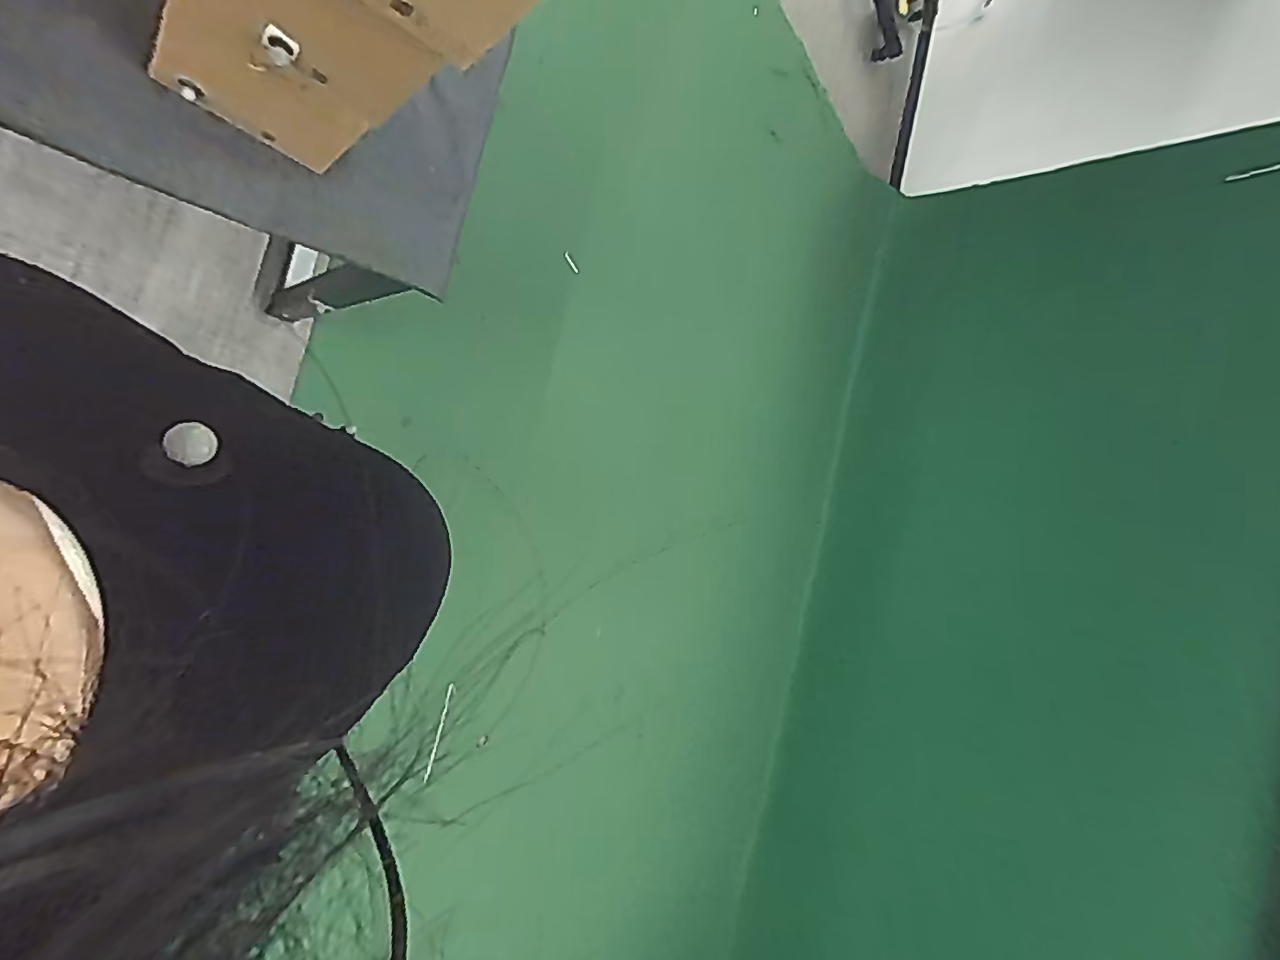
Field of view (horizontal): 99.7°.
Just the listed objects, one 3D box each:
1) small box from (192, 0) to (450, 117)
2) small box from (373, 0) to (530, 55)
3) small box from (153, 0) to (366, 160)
[{"bbox_3d":[-0.254,-0.457,0.448,0.168,0.176,0.179,12,87,-46],"label":"small box"},{"bbox_3d":[-0.133,-0.432,0.338,0.168,0.176,0.179,8,89,-46],"label":"small box"},{"bbox_3d":[-0.372,-0.476,0.559,0.168,0.176,0.179,18,81,-47],"label":"small box"}]
